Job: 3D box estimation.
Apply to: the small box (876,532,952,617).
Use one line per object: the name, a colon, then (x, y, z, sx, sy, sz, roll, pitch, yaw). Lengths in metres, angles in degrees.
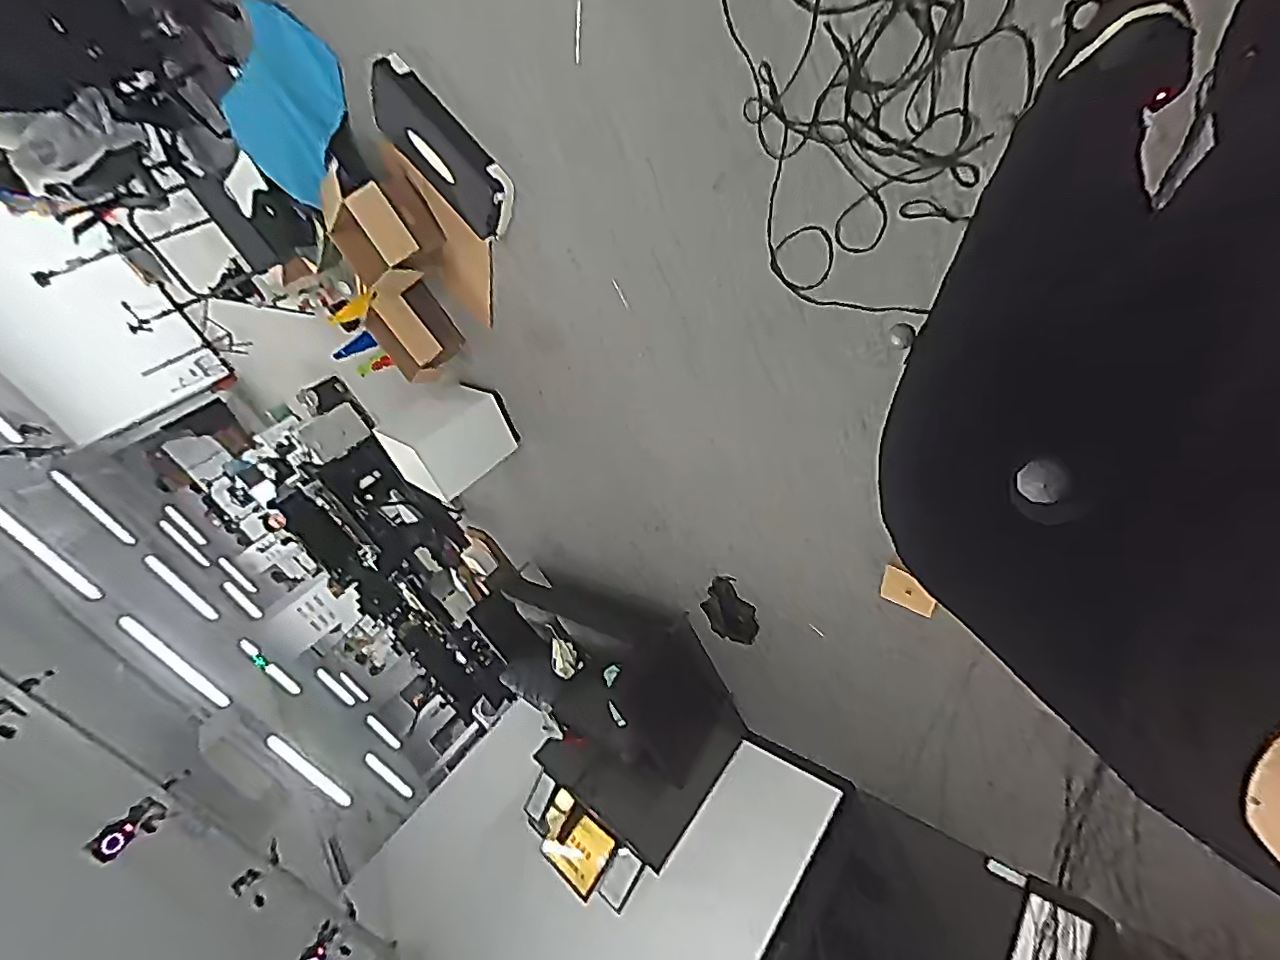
small box: (0.896, 0.305, 1.770, 0.168, 0.176, 0.179, 24, 143, 35)
